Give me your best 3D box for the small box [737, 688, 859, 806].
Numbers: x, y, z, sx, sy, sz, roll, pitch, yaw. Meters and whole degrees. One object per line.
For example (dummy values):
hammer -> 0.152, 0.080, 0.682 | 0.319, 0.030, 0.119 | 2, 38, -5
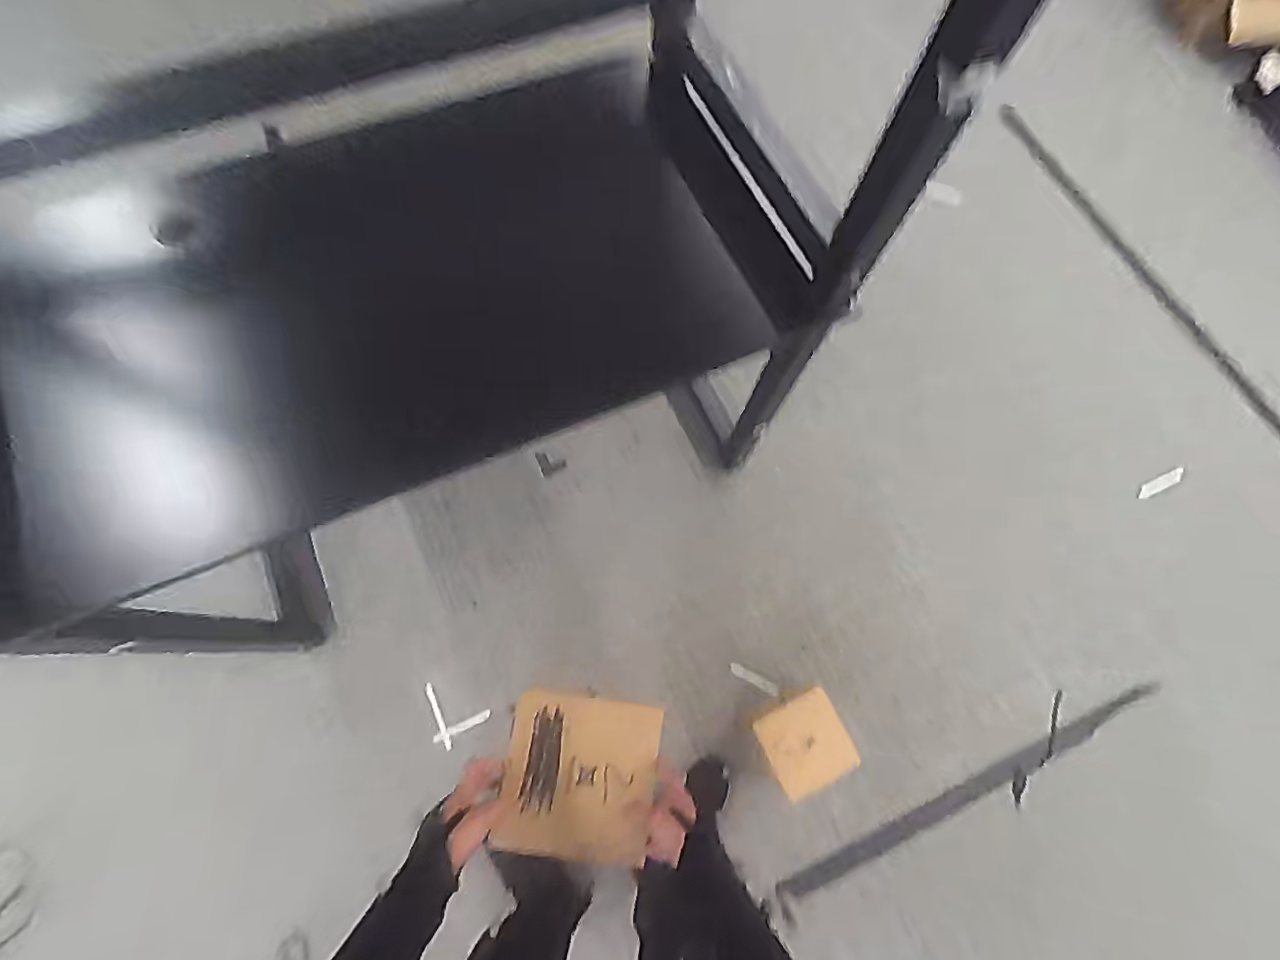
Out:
small box -> 0.338, 0.576, 1.195 | 0.179, 0.176, 0.168 | -23, 75, -9
